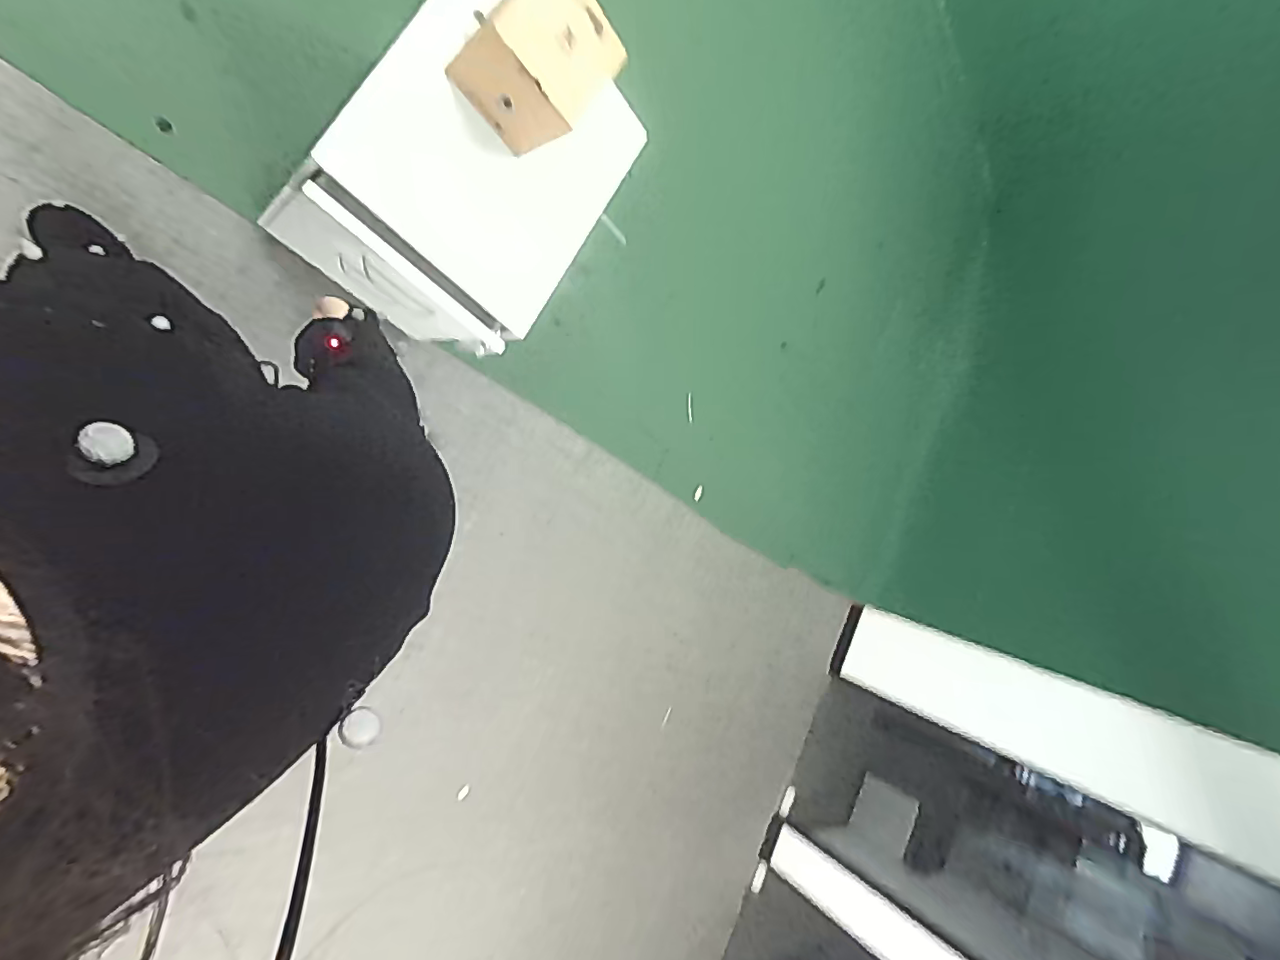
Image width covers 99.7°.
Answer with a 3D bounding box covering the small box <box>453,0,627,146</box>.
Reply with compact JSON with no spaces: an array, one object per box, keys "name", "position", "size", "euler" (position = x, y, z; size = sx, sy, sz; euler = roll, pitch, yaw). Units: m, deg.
[{"name":"small box","position":[-0.159,-0.654,0.826],"size":[0.168,0.176,0.179],"euler":[39,76,-42]}]
